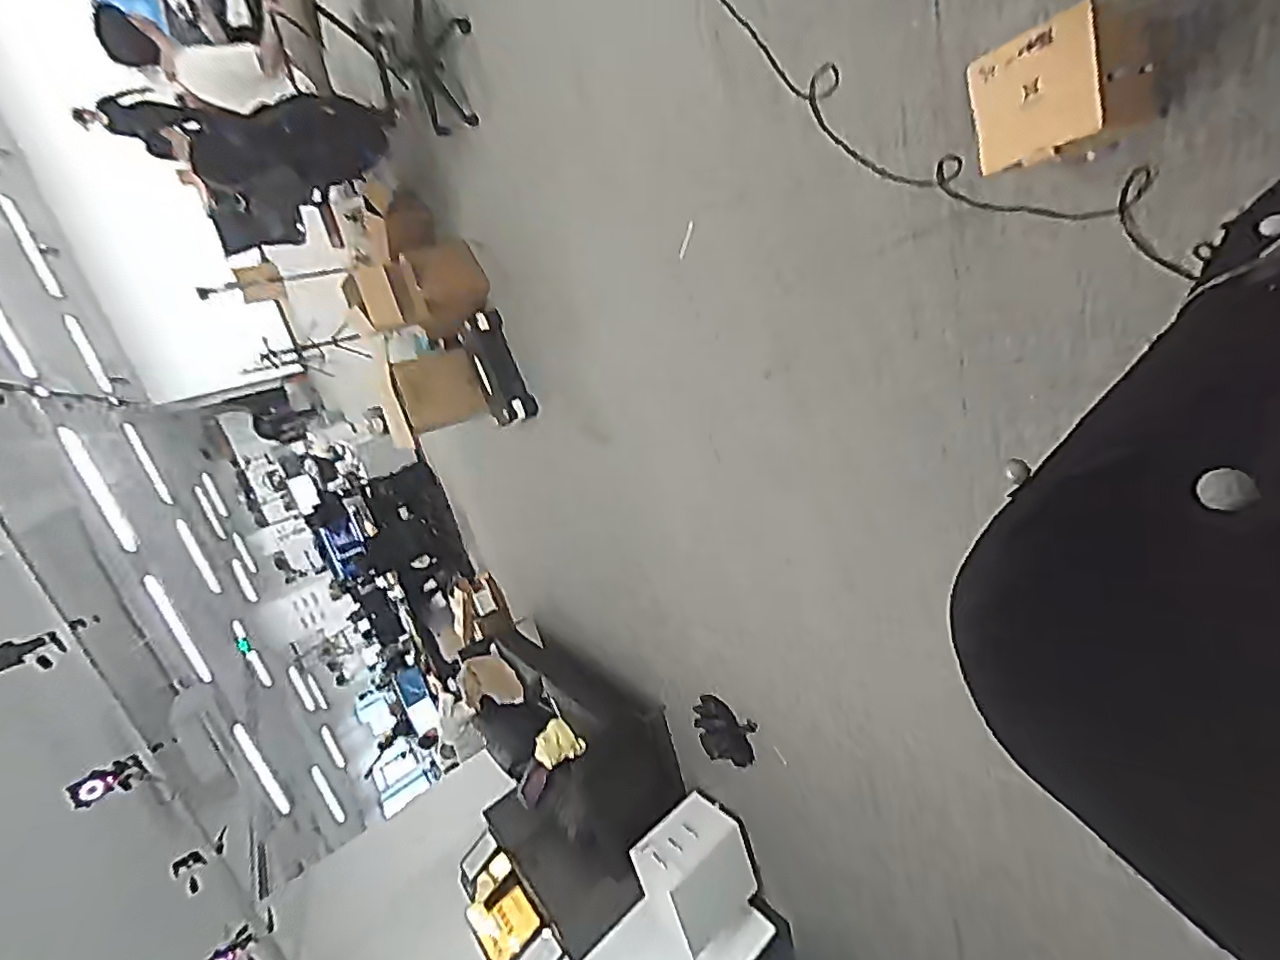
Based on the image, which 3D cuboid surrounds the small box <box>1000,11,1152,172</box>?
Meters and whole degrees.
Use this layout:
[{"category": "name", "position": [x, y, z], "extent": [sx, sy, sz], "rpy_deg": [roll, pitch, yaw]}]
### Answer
[{"category": "small box", "position": [0.783, -0.683, 0.970], "extent": [0.168, 0.176, 0.179], "rpy_deg": [-3, 110, 56]}]
